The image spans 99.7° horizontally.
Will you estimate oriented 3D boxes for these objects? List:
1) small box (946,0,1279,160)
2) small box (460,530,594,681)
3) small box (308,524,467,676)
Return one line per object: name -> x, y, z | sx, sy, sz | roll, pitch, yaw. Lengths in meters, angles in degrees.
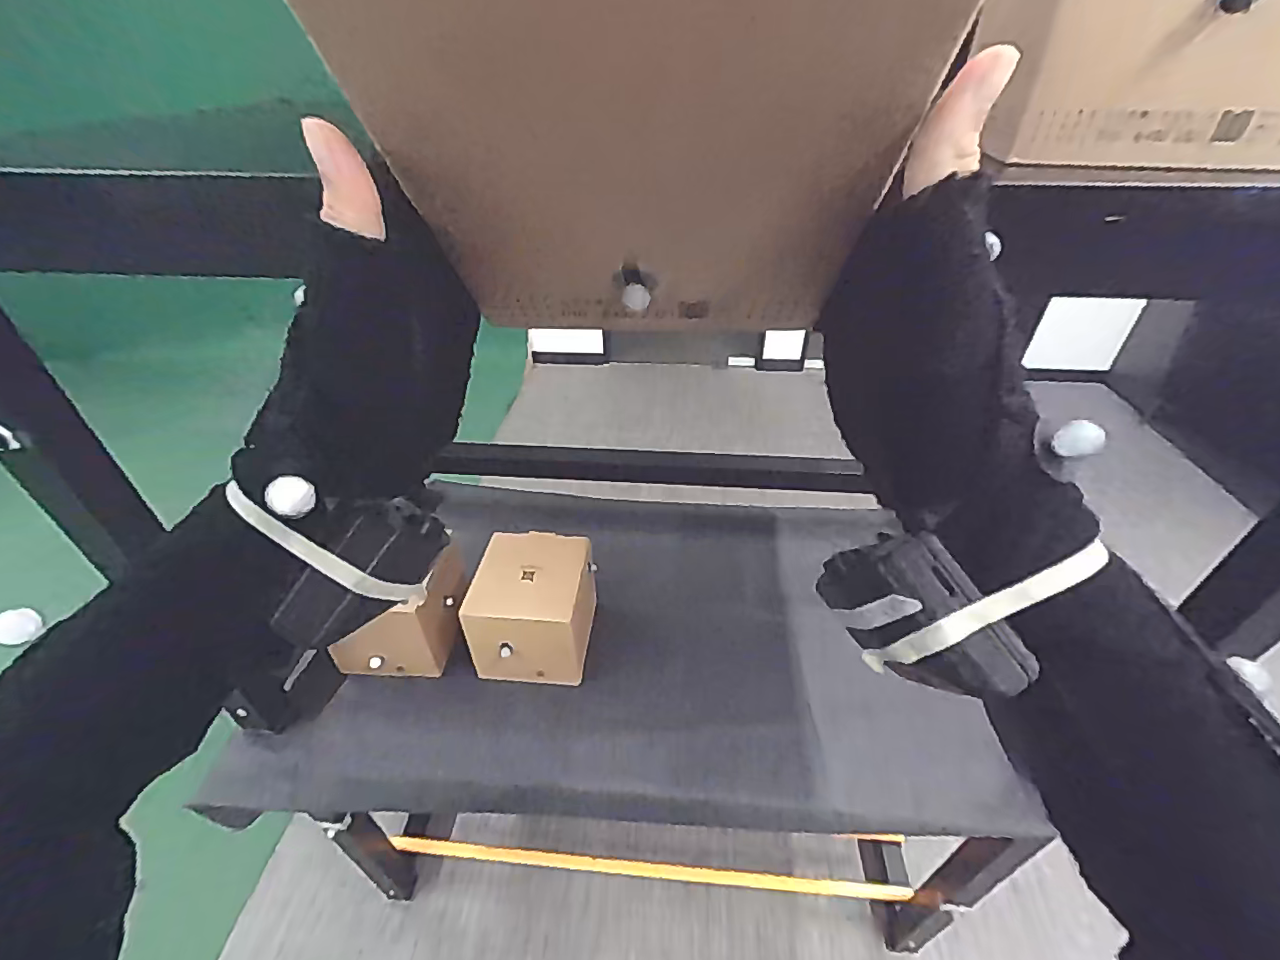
small box -> 0.312, -0.300, 0.327 | 0.168, 0.176, 0.179 | 8, 38, 11
small box -> -0.170, 0.204, 0.880 | 0.168, 0.176, 0.179 | 3, 37, 4
small box -> -0.396, 0.194, 0.890 | 0.168, 0.176, 0.179 | 1, 38, 2
